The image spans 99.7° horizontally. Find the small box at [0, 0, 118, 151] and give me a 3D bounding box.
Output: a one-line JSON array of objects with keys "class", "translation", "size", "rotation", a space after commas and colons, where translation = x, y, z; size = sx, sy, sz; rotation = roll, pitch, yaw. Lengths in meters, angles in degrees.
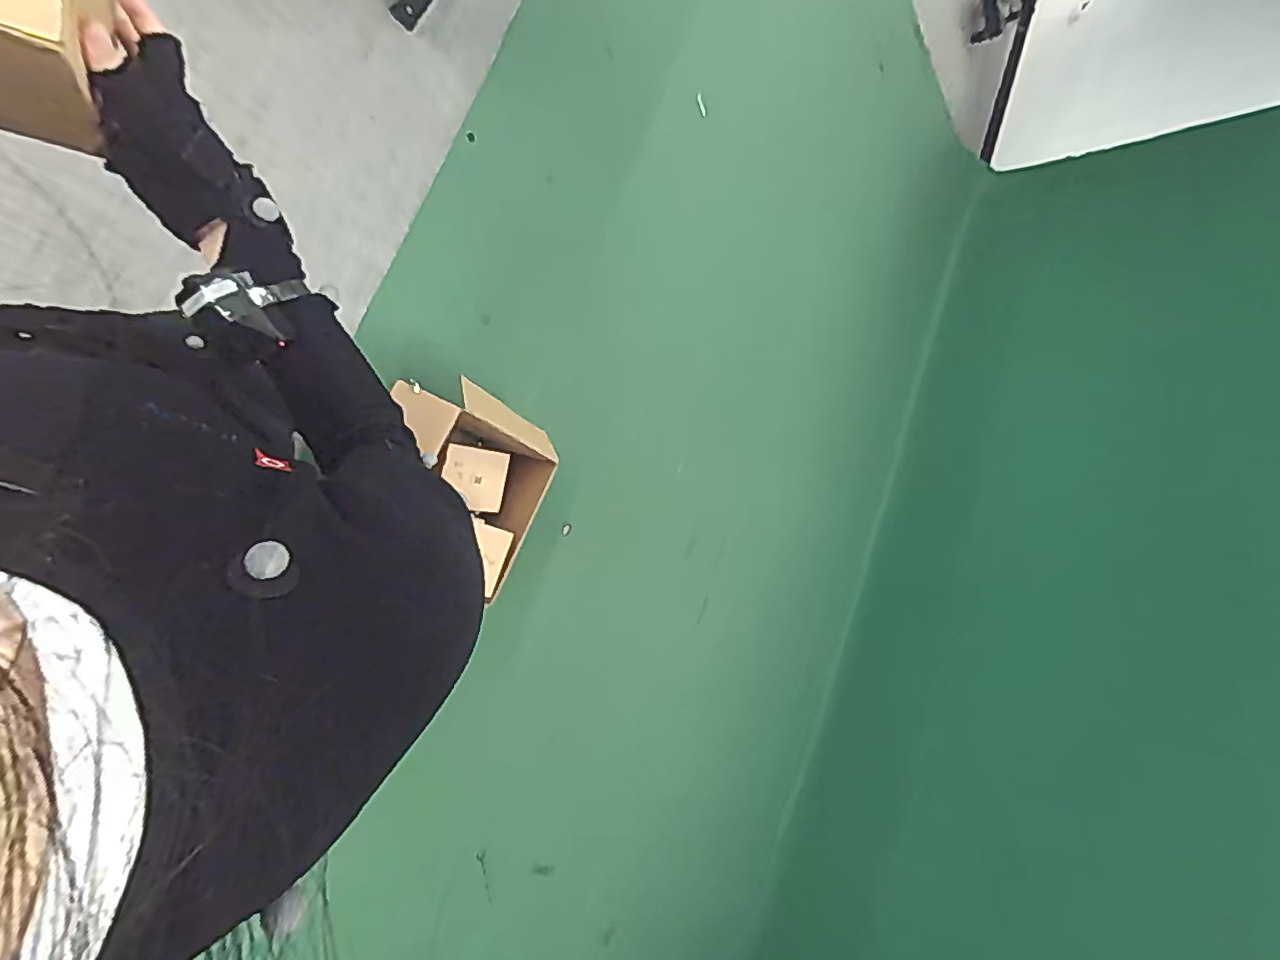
[{"class": "small box", "translation": [-0.414, -0.324, 0.297], "size": [0.168, 0.176, 0.179], "rotation": [1, 98, -38]}]
